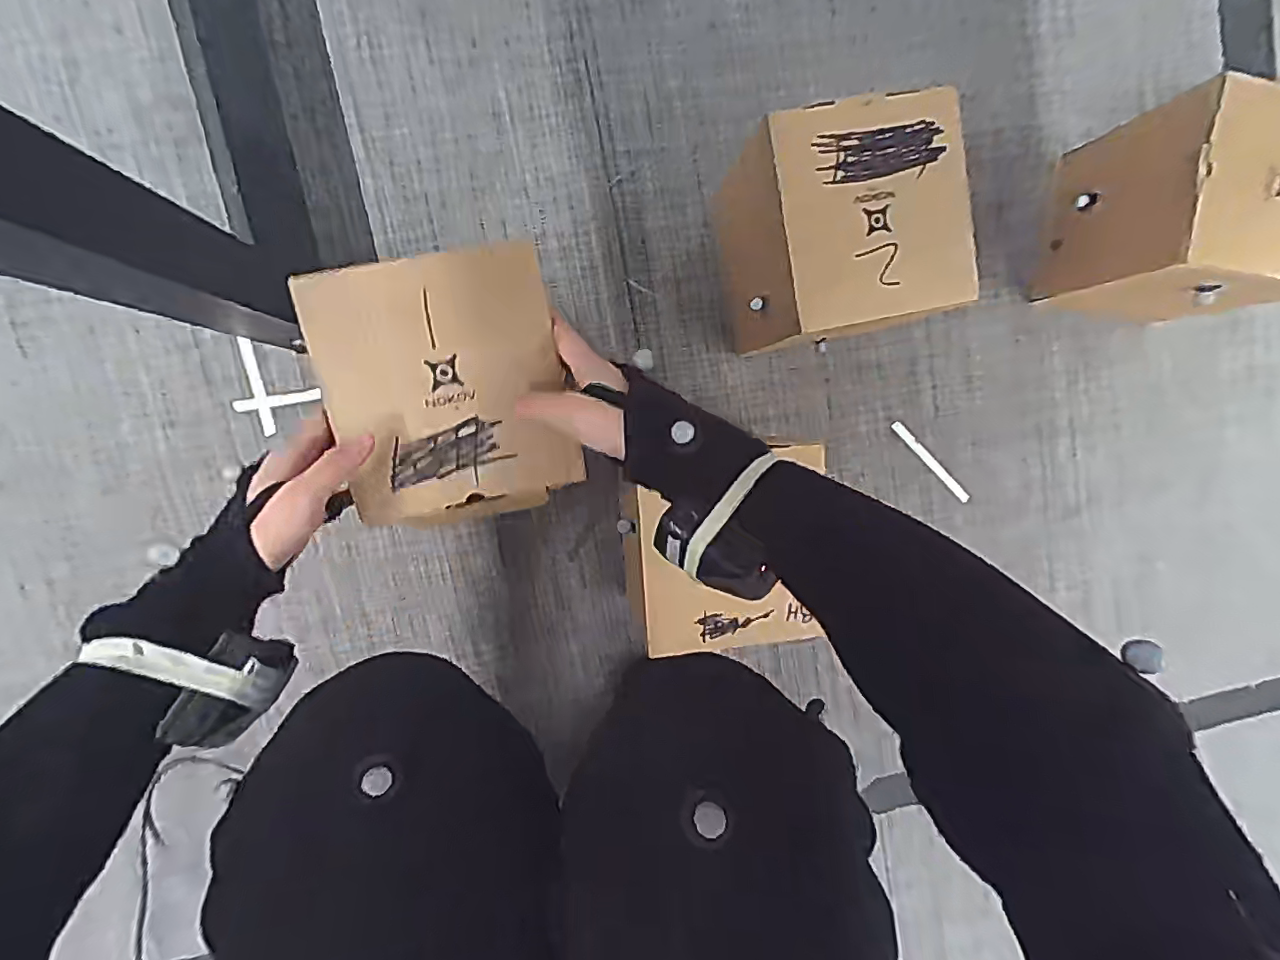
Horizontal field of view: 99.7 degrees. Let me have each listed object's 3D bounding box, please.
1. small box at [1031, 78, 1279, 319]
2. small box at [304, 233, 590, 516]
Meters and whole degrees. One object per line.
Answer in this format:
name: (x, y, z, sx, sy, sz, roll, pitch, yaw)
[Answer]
small box: (0.572, -0.274, 0.573, 0.179, 0.176, 0.168, 6, 95, -8)
small box: (-0.138, -0.085, 0.456, 0.168, 0.176, 0.179, -11, 100, -6)
